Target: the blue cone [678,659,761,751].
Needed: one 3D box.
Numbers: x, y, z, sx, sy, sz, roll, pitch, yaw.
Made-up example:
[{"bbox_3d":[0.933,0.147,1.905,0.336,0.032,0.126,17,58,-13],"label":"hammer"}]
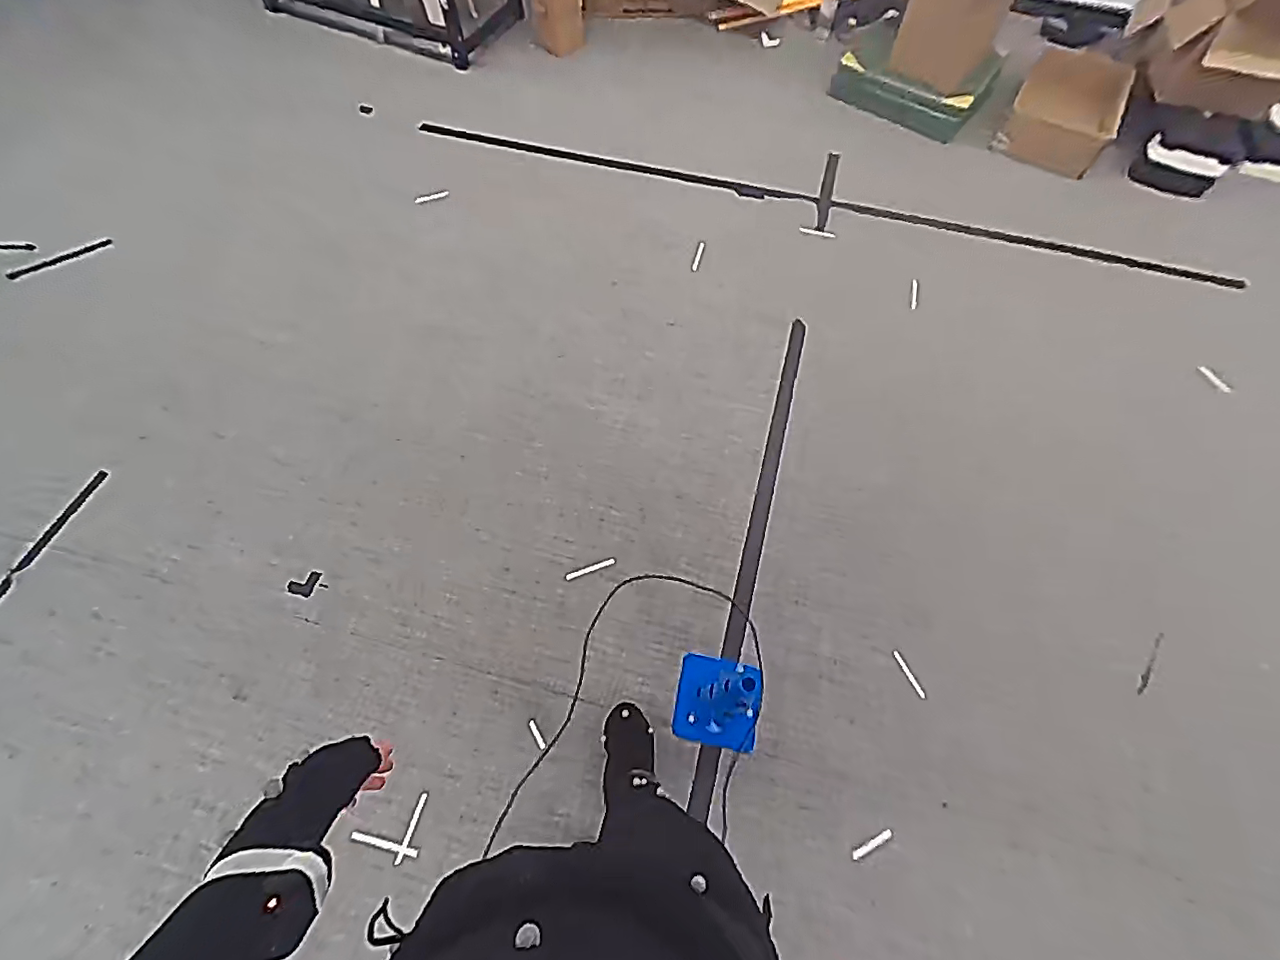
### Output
[{"bbox_3d":[0.198,0.466,1.149,0.192,0.380,0.193,10,64,3],"label":"blue cone"}]
